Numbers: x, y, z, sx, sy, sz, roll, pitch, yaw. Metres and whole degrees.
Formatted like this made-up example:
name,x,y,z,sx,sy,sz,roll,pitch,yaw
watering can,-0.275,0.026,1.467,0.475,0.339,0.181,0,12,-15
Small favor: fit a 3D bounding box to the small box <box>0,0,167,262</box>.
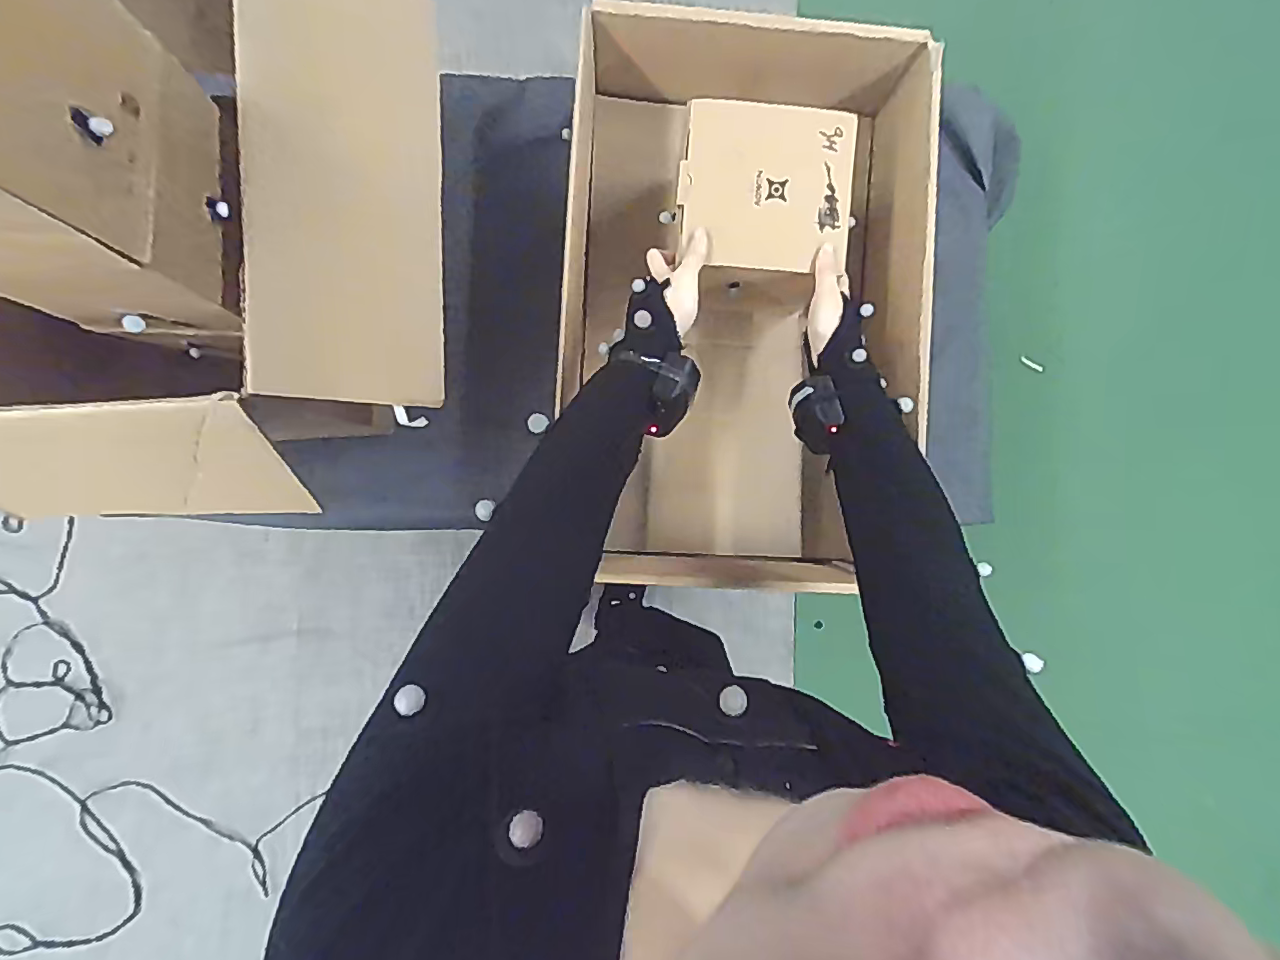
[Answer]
name,x,y,z,sx,sy,sz,roll,pitch,yaw
small box,-0.423,-0.239,0.301,0.179,0.176,0.168,1,88,-8
